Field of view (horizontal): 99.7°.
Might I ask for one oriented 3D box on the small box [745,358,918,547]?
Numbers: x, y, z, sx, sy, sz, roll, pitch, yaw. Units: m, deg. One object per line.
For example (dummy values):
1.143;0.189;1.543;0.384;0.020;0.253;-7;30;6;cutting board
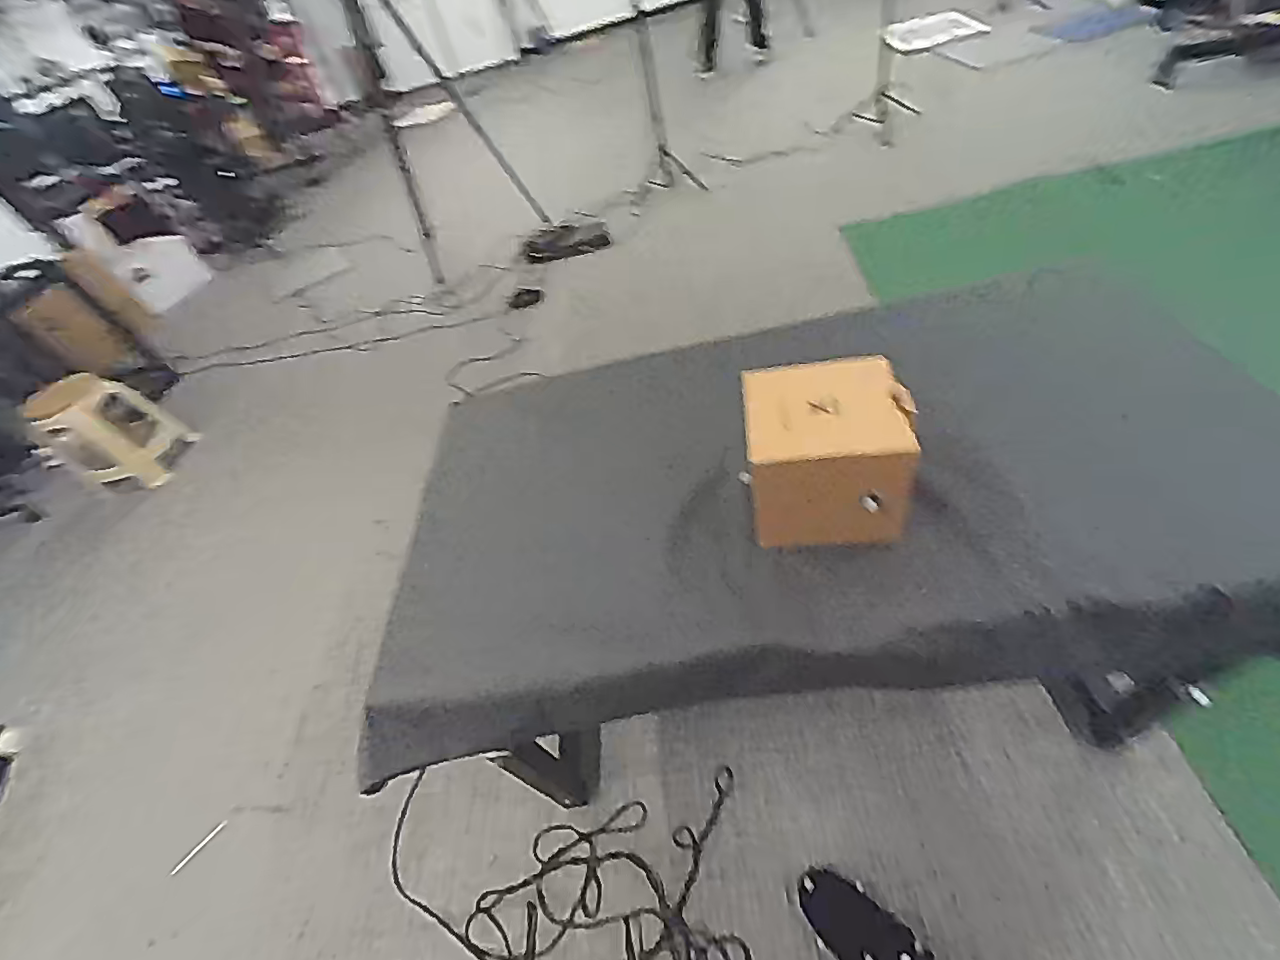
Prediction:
0.231;-0.030;0.691;0.179;0.176;0.168;-6;46;13;small box
